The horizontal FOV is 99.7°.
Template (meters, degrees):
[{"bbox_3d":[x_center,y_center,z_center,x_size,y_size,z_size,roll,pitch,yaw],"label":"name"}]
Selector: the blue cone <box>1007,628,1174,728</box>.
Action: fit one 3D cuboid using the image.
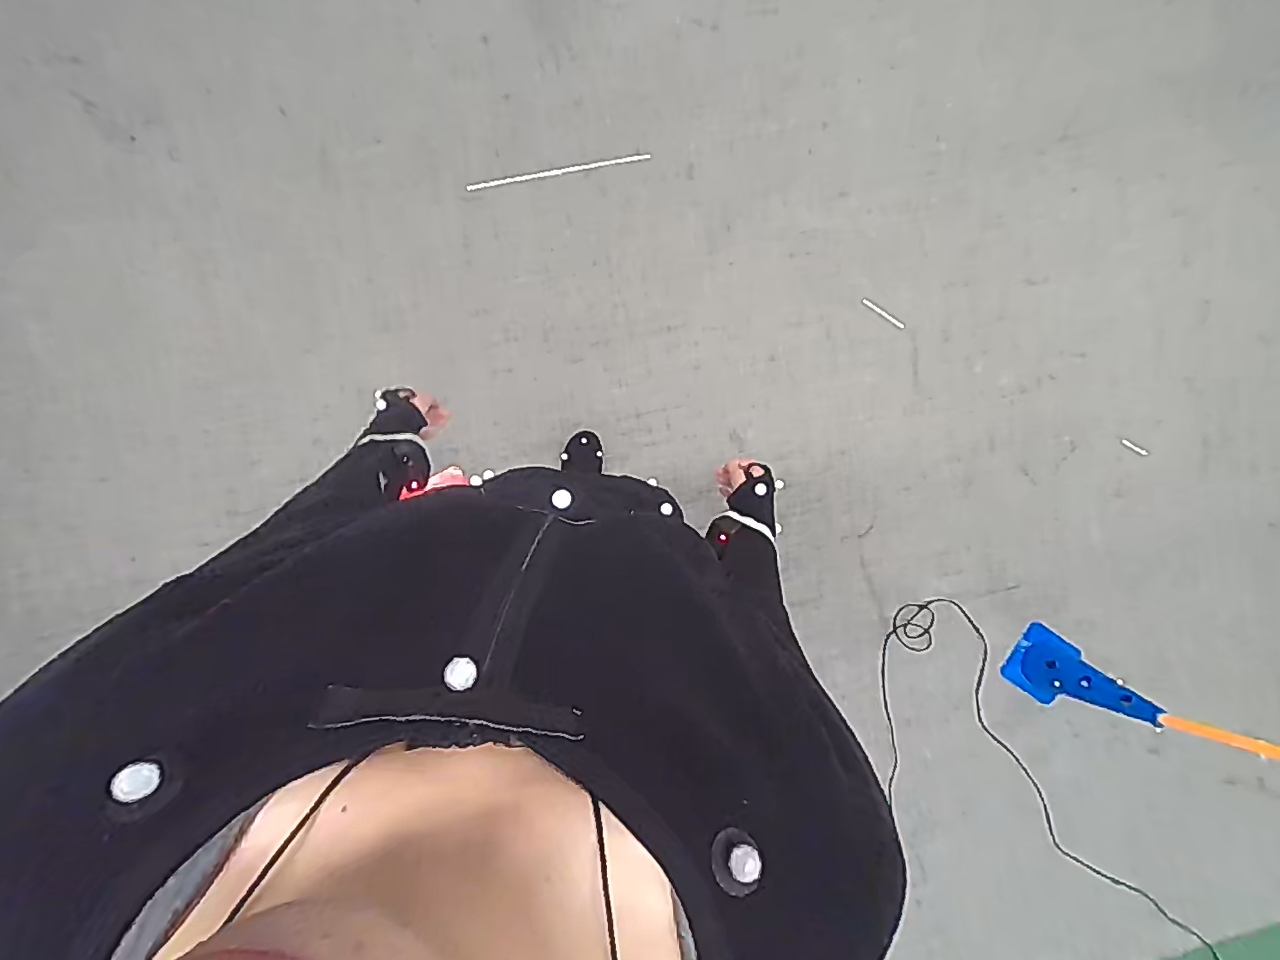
[{"bbox_3d":[1.229,0.564,1.469,0.192,0.380,0.193,32,88,-5],"label":"blue cone"}]
